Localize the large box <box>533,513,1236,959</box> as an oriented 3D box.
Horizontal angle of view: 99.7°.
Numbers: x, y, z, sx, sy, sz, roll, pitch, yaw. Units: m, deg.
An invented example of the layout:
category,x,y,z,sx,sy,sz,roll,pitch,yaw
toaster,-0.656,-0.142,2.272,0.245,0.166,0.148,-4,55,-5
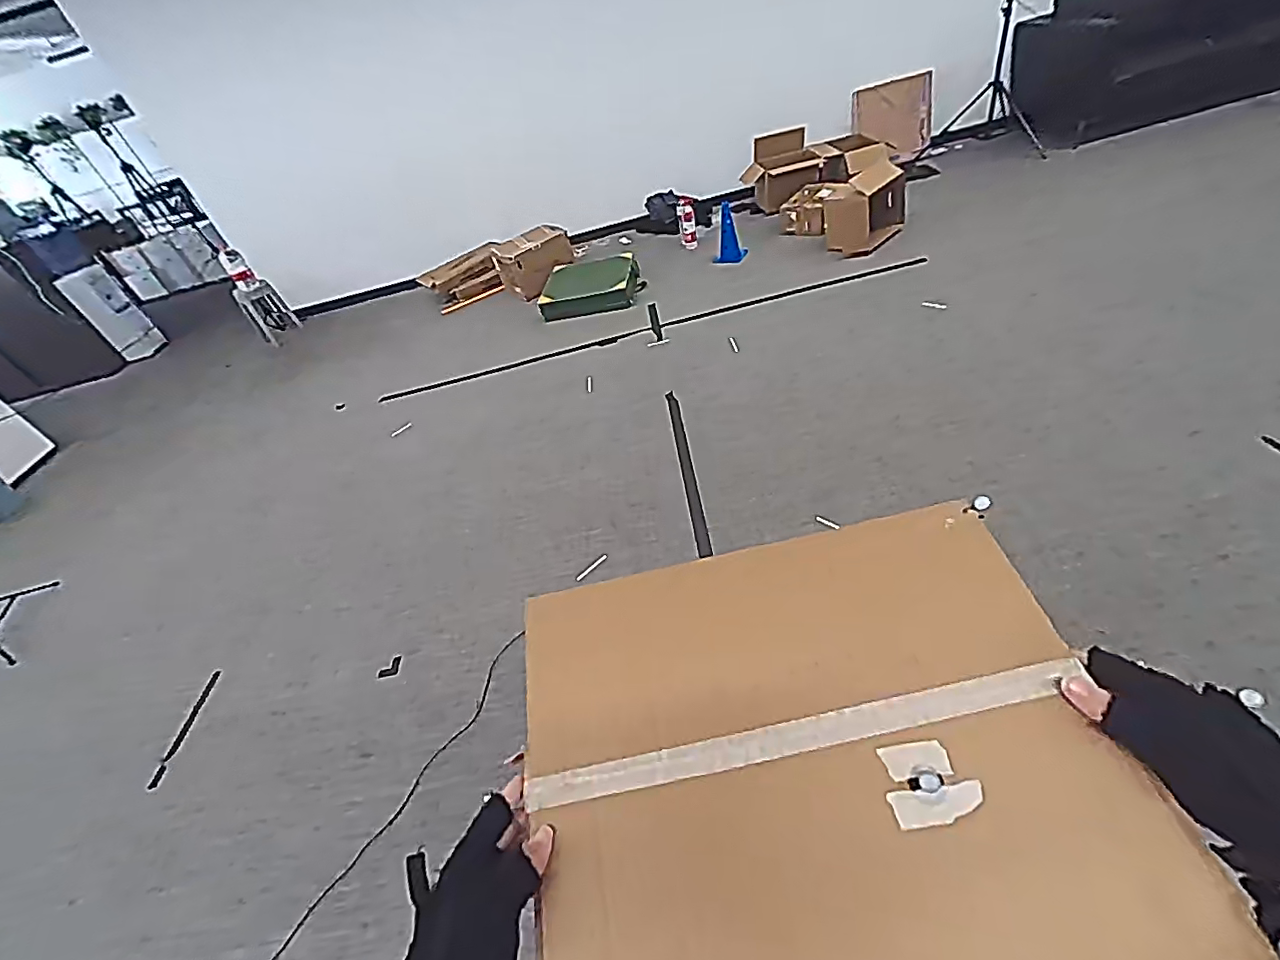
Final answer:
category,x,y,z,sx,sy,sz,roll,pitch,yaw
large box,0.143,0.283,0.514,0.408,0.320,0.320,-14,52,1
